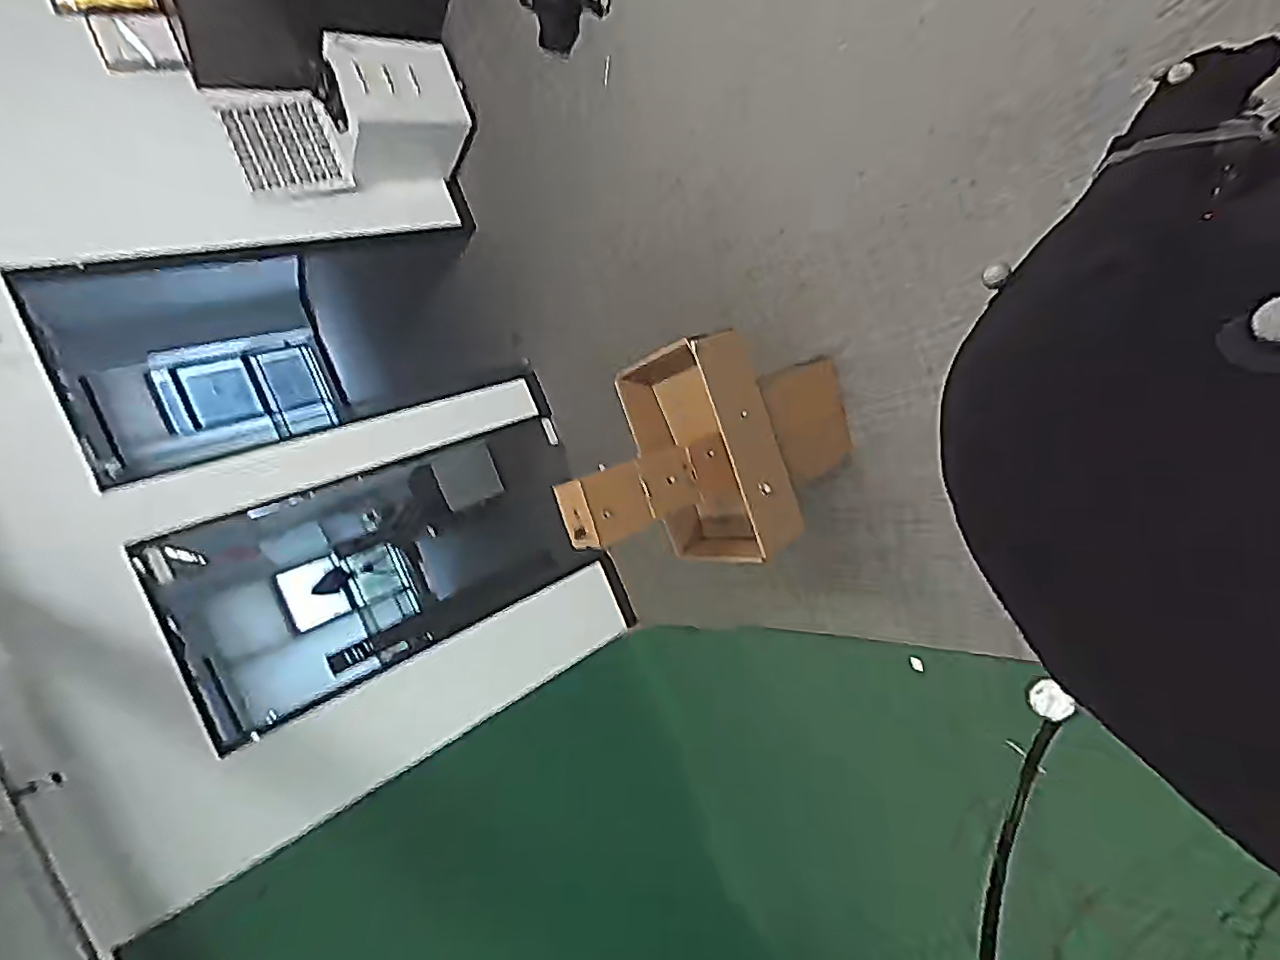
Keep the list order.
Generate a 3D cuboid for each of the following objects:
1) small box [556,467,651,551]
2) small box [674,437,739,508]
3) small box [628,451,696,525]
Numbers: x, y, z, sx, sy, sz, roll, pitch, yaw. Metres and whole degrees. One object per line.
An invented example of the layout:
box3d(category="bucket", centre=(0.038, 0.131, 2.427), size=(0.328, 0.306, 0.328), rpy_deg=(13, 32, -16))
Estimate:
box3d(category="small box", centre=(-0.095, 0.078, 1.430), size=(0.168, 0.176, 0.179), rpy_deg=(-12, 96, 57))
box3d(category="small box", centre=(0.172, -0.020, 1.596), size=(0.179, 0.176, 0.168), rpy_deg=(-12, 97, 59))
box3d(category="small box", centre=(0.038, 0.027, 1.515), size=(0.179, 0.176, 0.168), rpy_deg=(-17, 93, 57))
